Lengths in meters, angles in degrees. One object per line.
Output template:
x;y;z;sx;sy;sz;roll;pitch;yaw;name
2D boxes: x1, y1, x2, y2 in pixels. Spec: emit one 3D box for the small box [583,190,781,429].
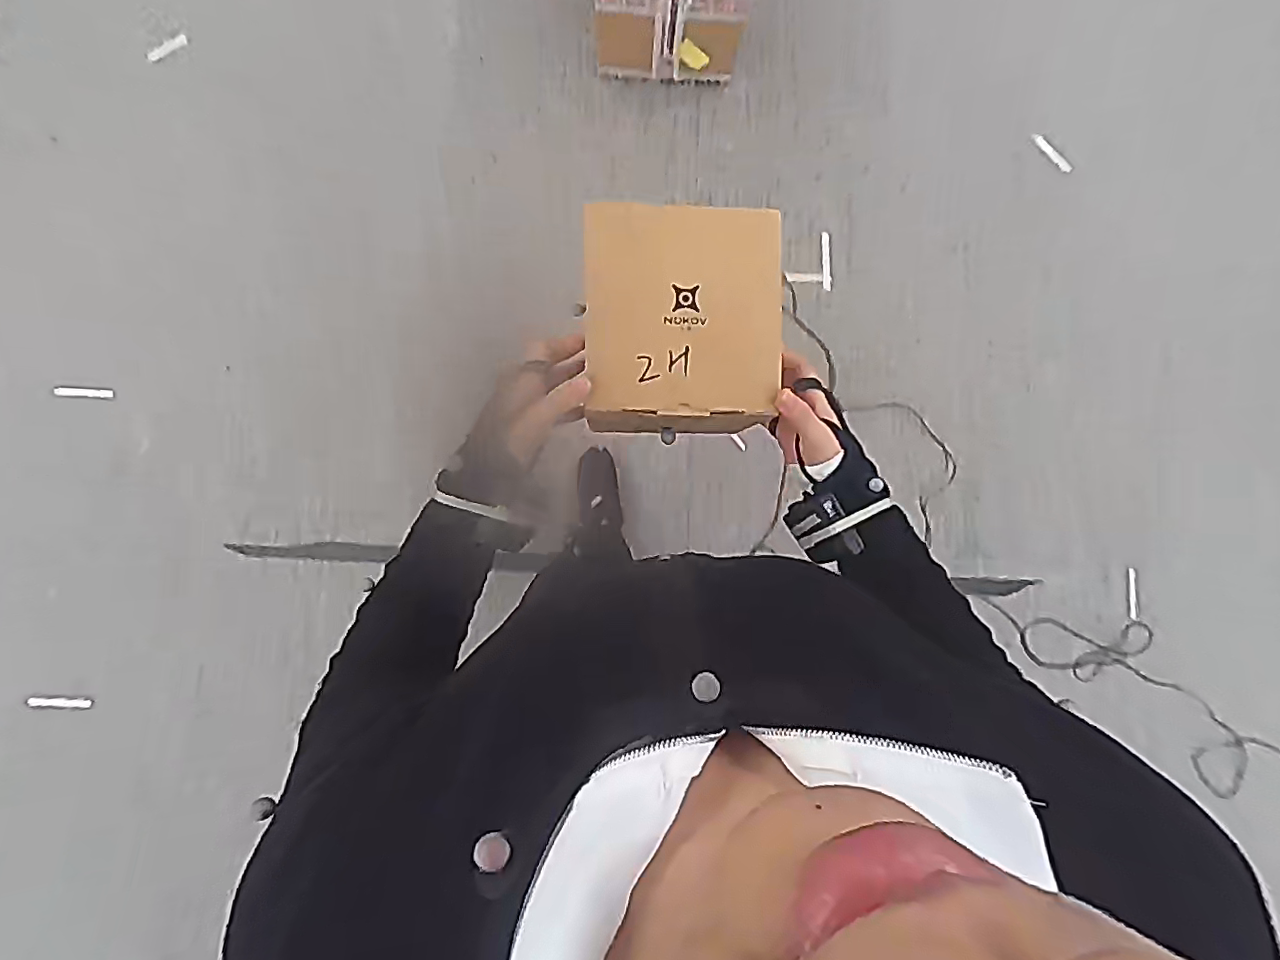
0.032;-0.149;0.527;0.168;0.176;0.179;1;89;-2;small box
